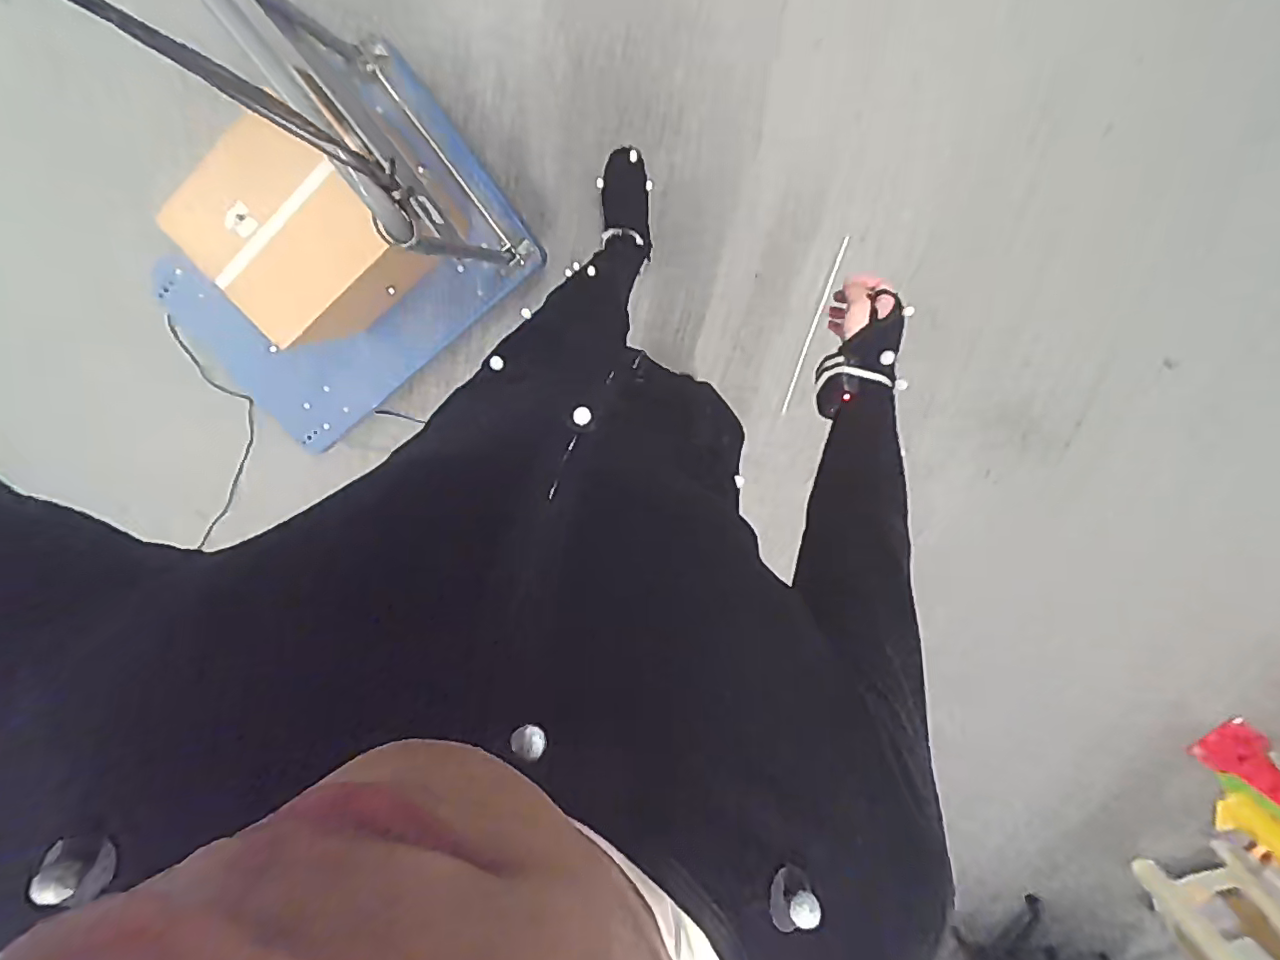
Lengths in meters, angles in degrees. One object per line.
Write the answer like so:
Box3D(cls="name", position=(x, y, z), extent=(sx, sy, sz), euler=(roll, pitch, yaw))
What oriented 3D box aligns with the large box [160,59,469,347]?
Box3D(cls="large box", position=(-0.647, -0.547, 1.138), extent=(0.408, 0.320, 0.320), euler=(-34, 105, 16))
